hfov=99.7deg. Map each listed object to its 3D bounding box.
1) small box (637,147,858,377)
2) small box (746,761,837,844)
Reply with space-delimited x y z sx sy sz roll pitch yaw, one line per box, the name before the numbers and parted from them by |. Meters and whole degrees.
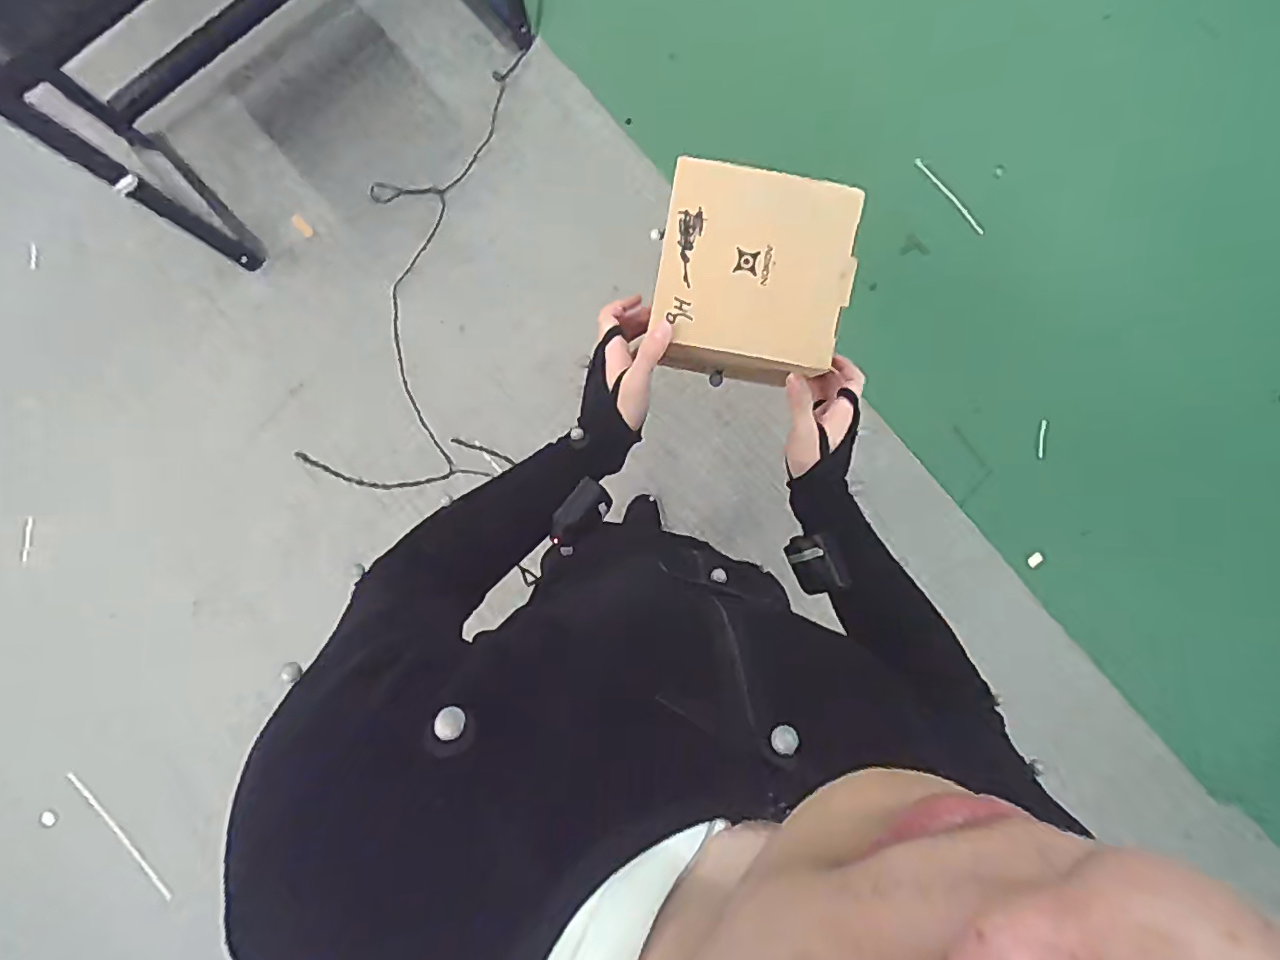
small box | 0.097 -0.208 0.569 0.179 0.176 0.168 10 93 -2
small box | 0.403 0.907 1.458 0.179 0.176 0.168 -35 87 -3
